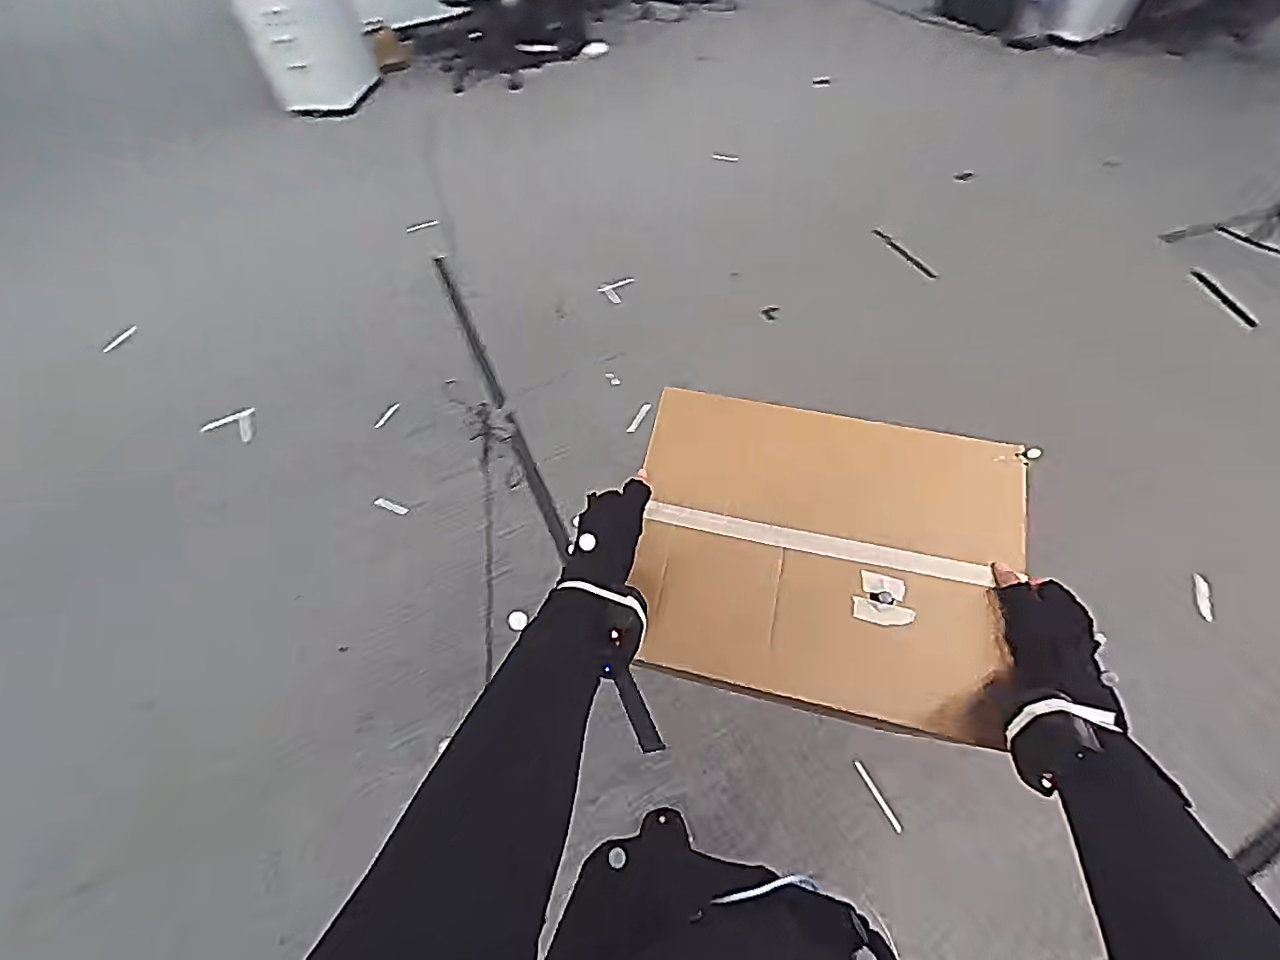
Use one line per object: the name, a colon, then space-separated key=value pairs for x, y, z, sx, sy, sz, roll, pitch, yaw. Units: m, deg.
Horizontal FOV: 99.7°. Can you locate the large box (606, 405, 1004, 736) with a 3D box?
large box: x=0.192 y=0.129 z=0.731 sx=0.408 sy=0.320 sz=0.320 roll=10 pitch=71 yaw=7
